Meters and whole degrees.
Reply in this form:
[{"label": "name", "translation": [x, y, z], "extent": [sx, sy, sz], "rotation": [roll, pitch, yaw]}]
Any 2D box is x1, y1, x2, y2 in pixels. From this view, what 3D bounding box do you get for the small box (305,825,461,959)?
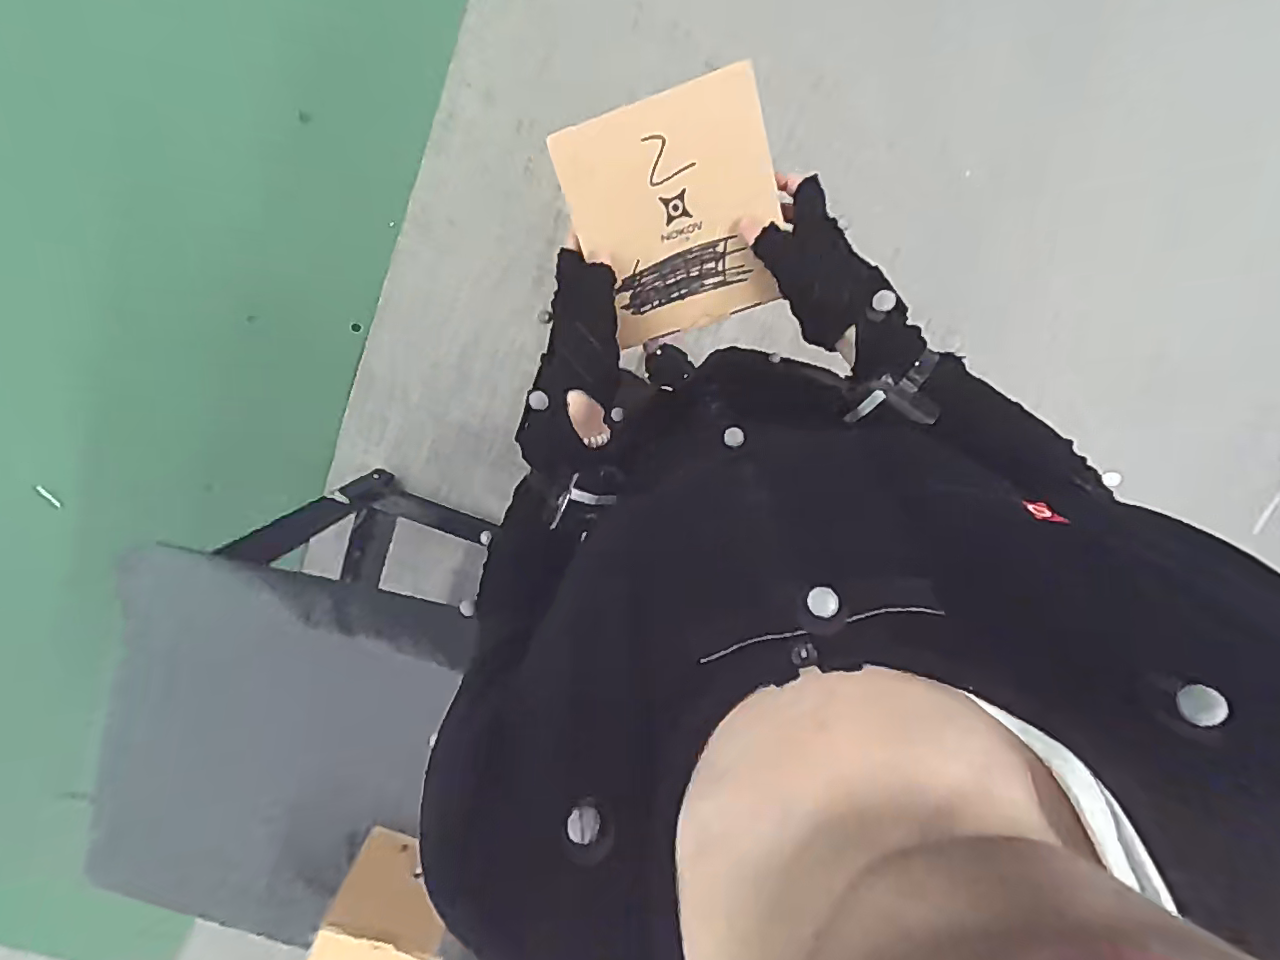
[{"label": "small box", "translation": [-0.402, 0.699, 0.850], "extent": [0.168, 0.176, 0.179], "rotation": [23, 102, -6]}]
